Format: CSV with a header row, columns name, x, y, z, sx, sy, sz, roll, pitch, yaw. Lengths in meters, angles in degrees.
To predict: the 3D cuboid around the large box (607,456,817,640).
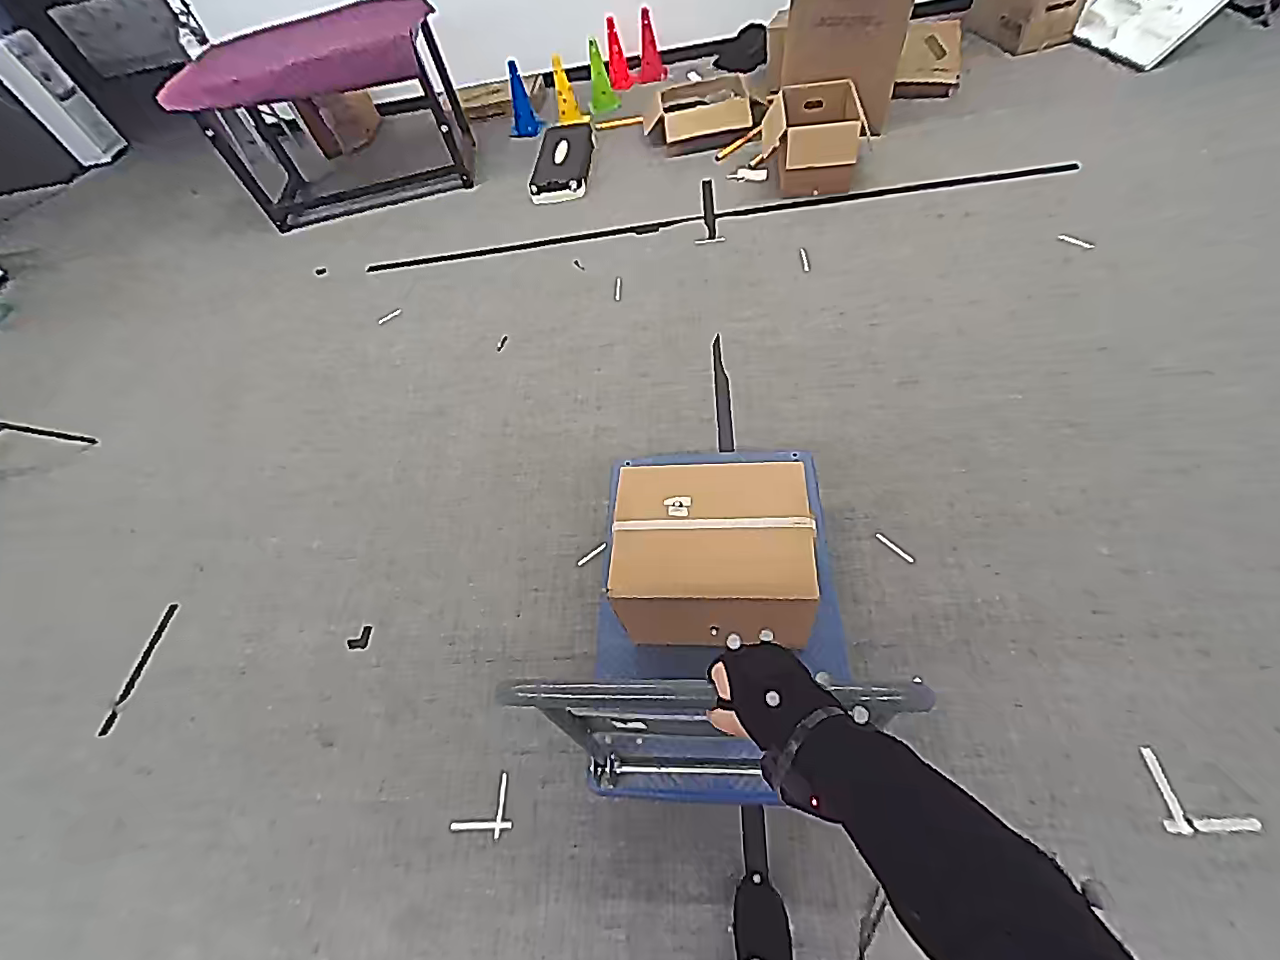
name,x,y,z,sx,sy,sz,roll,pitch,yaw
large box,0.165,0.168,1.226,0.408,0.320,0.320,-3,55,11
